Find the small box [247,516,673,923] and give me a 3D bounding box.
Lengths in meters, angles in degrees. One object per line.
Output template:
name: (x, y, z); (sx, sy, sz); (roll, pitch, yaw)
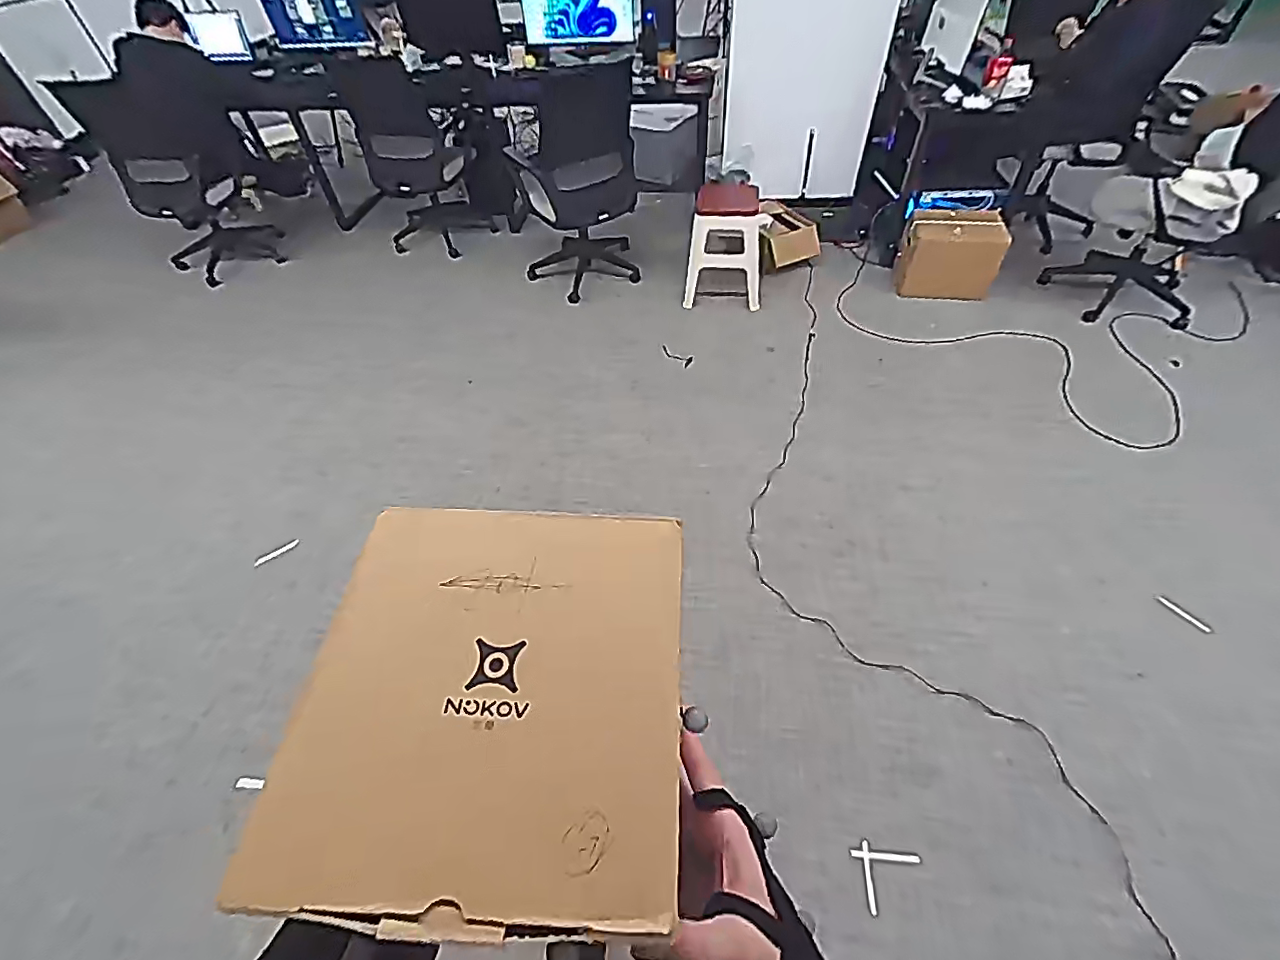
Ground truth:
small box: (-0.066, 0.141, 0.317); (0.168, 0.176, 0.179); (2, 51, 1)
